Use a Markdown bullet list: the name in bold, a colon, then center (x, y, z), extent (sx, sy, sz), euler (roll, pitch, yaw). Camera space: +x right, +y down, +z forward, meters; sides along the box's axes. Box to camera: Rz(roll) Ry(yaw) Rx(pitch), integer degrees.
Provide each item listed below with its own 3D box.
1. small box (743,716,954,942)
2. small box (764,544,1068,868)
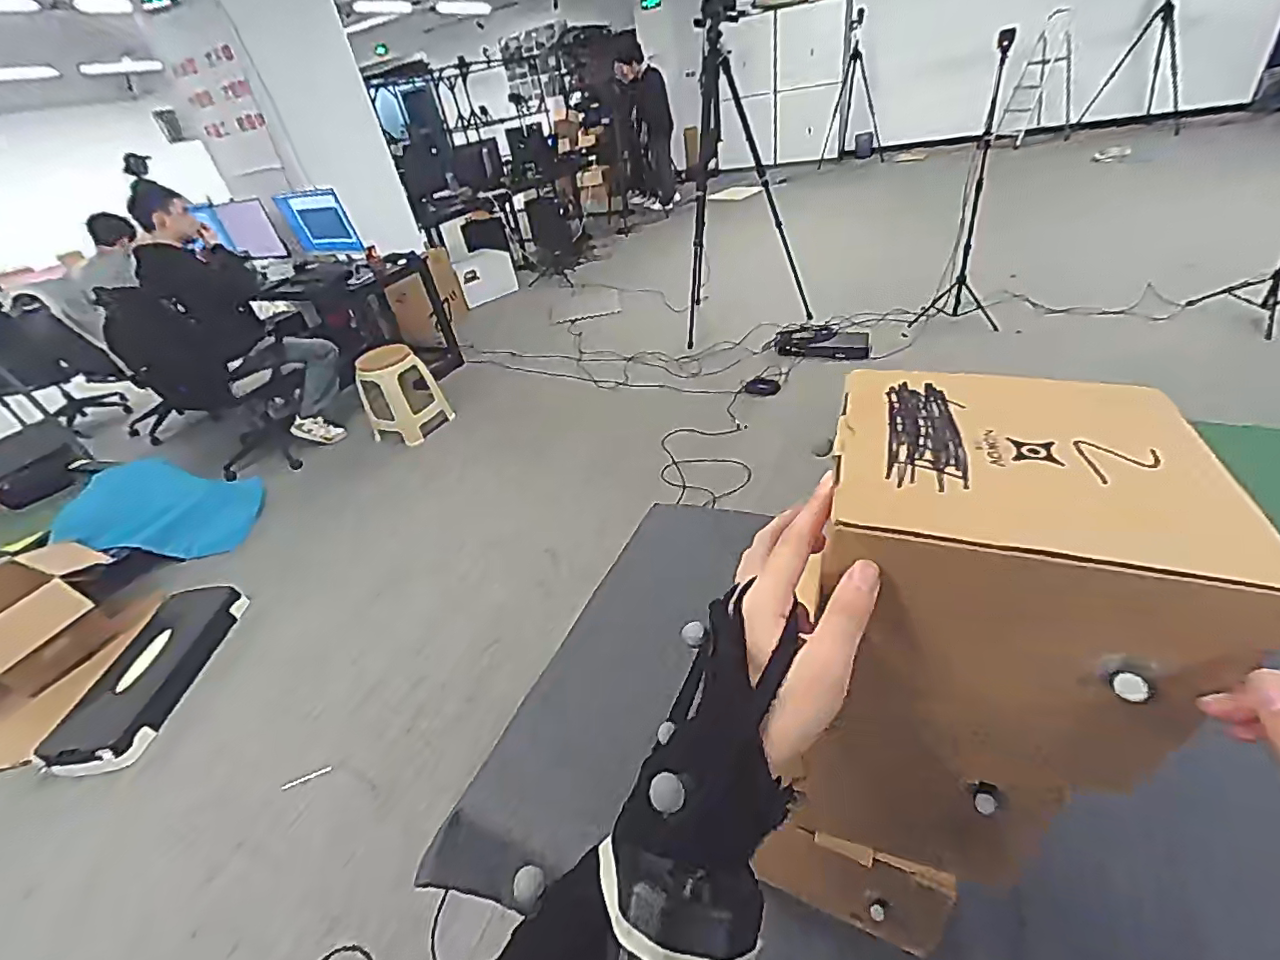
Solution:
- **small box**: center (0.211, 0.307, 0.541), extent (0.168, 0.176, 0.179), euler (11, 40, 25)
- **small box**: center (0.202, 0.177, 0.442), extent (0.179, 0.176, 0.168), euler (6, 39, 20)
